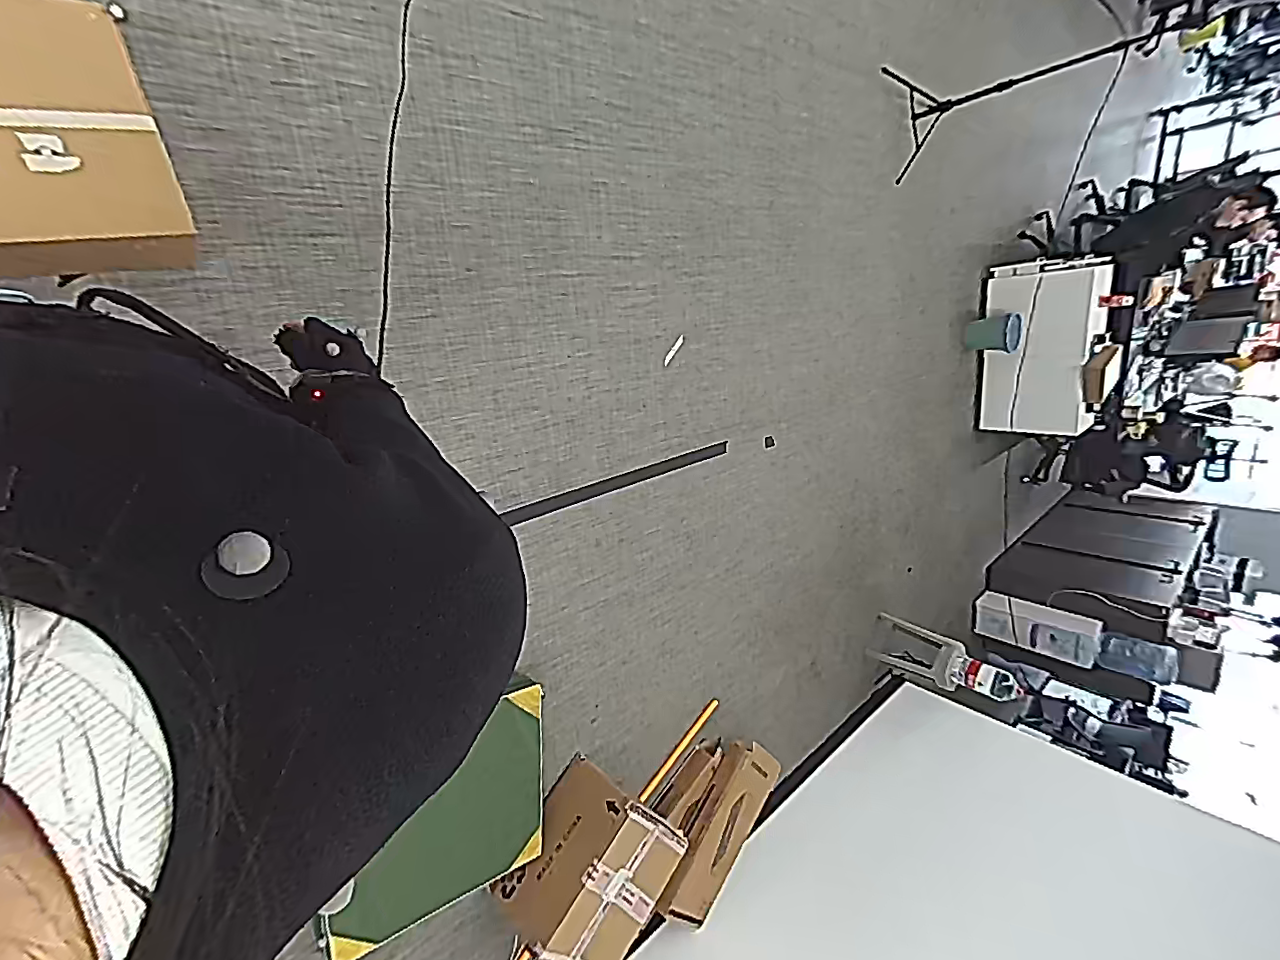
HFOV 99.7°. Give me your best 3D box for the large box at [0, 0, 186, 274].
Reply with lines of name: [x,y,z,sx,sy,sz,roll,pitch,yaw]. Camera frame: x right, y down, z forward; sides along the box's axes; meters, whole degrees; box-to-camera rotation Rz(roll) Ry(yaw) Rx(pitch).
large box: [-1.010,-0.509,0.835,0.408,0.320,0.320,-23,113,-35]
